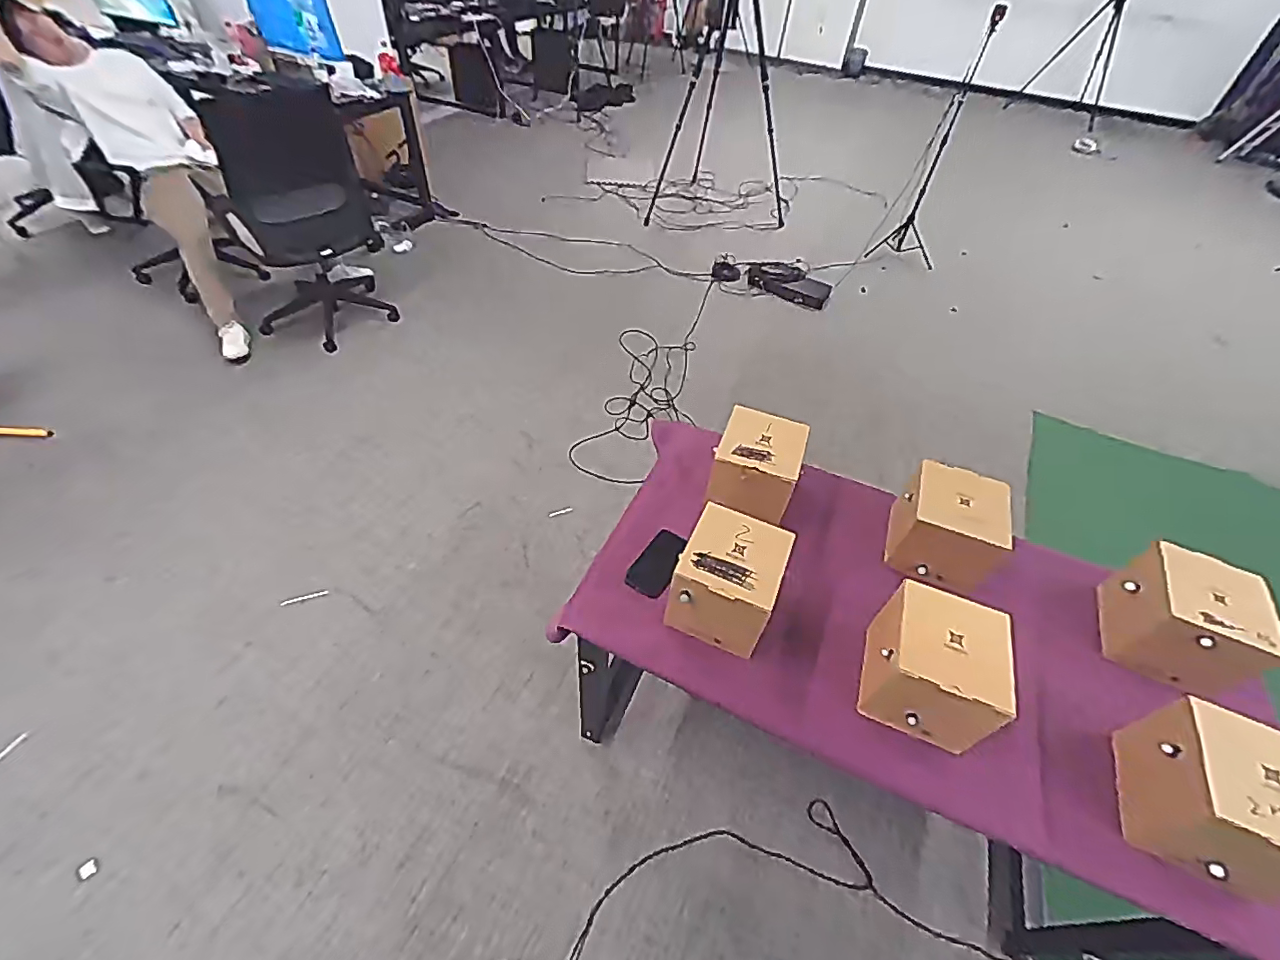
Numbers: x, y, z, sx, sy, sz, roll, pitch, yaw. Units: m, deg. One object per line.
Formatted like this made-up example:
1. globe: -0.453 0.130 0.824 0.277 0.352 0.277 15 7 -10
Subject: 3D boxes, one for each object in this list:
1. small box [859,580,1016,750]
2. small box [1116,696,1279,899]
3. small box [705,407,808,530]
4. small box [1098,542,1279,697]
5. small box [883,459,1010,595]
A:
1. small box: 0.475 0.302 0.883 0.168 0.176 0.179 20 49 12
2. small box: 0.829 0.453 0.772 0.168 0.176 0.179 22 49 16
3. small box: 0.244 -0.022 1.154 0.168 0.176 0.179 18 48 11
4. small box: 0.971 0.252 0.973 0.168 0.176 0.179 23 49 16
5. small box: 0.608 0.095 1.084 0.168 0.176 0.179 20 50 14
